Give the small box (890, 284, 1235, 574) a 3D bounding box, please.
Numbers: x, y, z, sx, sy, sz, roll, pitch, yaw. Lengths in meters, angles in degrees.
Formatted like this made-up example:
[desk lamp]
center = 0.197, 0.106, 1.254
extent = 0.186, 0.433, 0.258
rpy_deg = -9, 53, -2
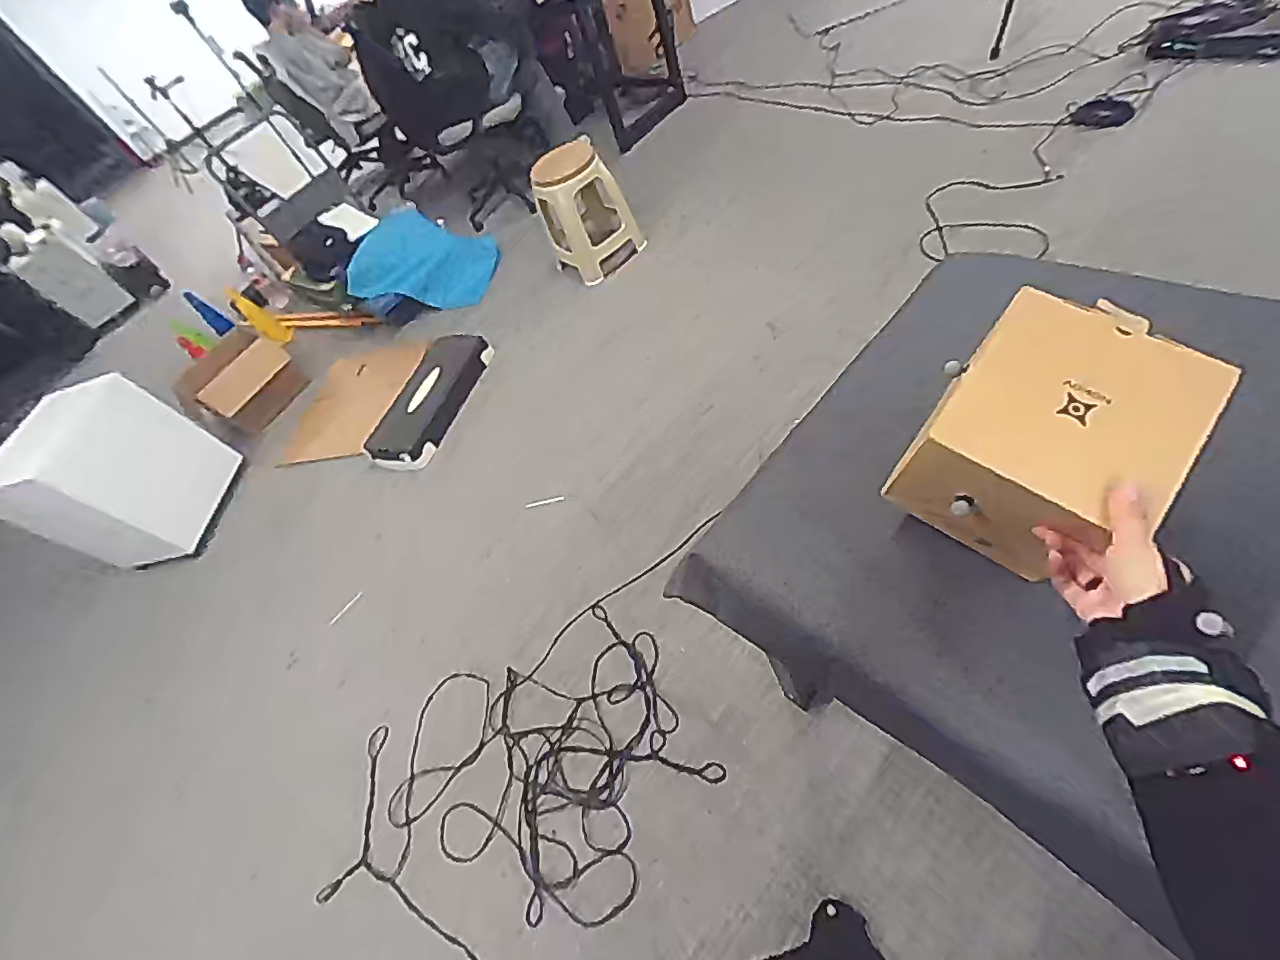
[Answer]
[small box]
center = 0.358, -0.035, 0.501
extent = 0.168, 0.176, 0.179
rpy_deg = 34, 78, 19
